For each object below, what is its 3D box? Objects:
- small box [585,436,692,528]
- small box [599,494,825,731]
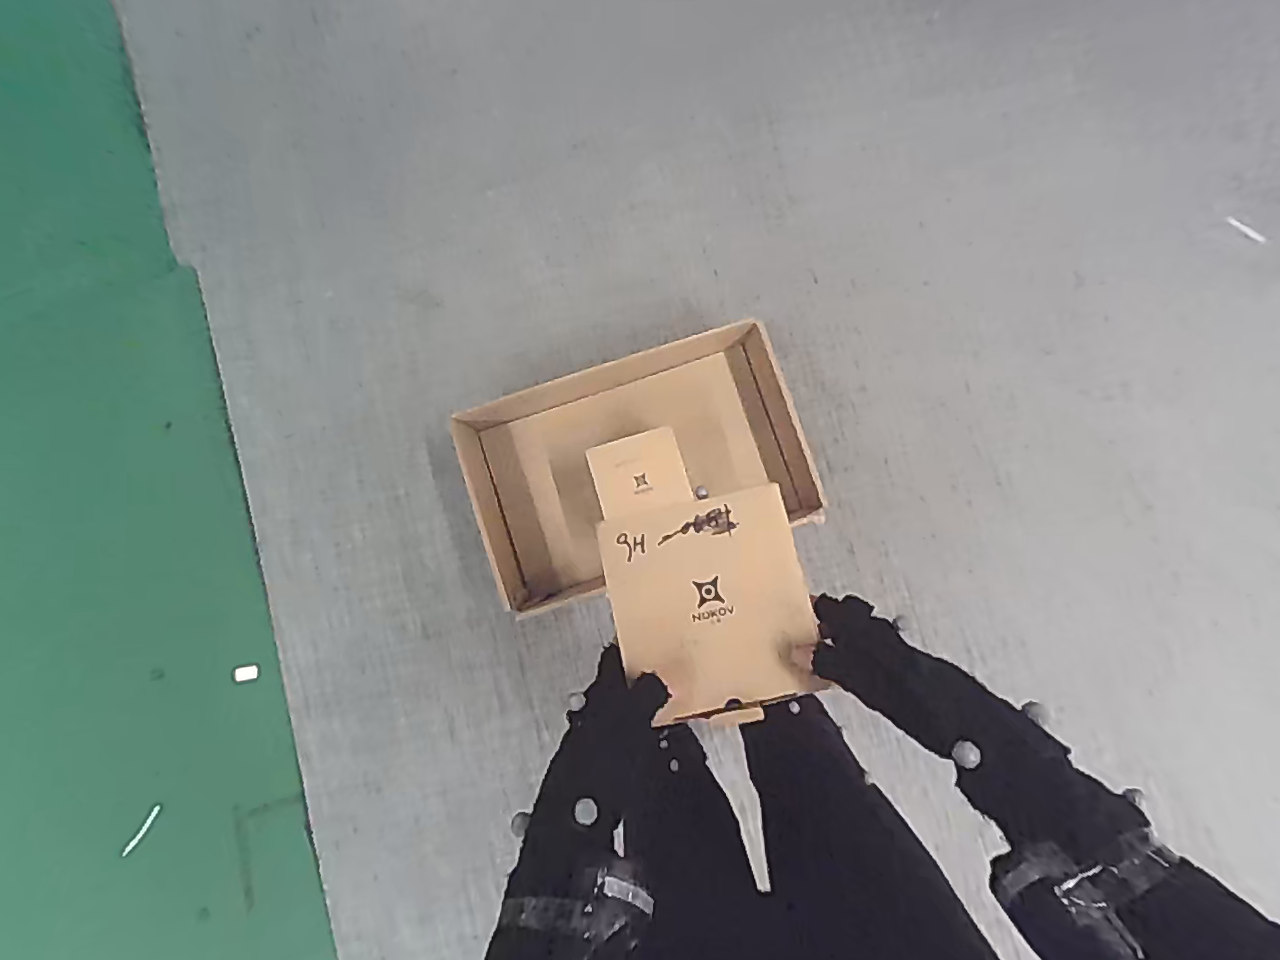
[{"bbox_3d":[0.001,0.032,1.047,0.168,0.176,0.179,-17,83,-3],"label":"small box"},{"bbox_3d":[0.063,0.124,0.542,0.168,0.176,0.179,-13,79,0],"label":"small box"}]
